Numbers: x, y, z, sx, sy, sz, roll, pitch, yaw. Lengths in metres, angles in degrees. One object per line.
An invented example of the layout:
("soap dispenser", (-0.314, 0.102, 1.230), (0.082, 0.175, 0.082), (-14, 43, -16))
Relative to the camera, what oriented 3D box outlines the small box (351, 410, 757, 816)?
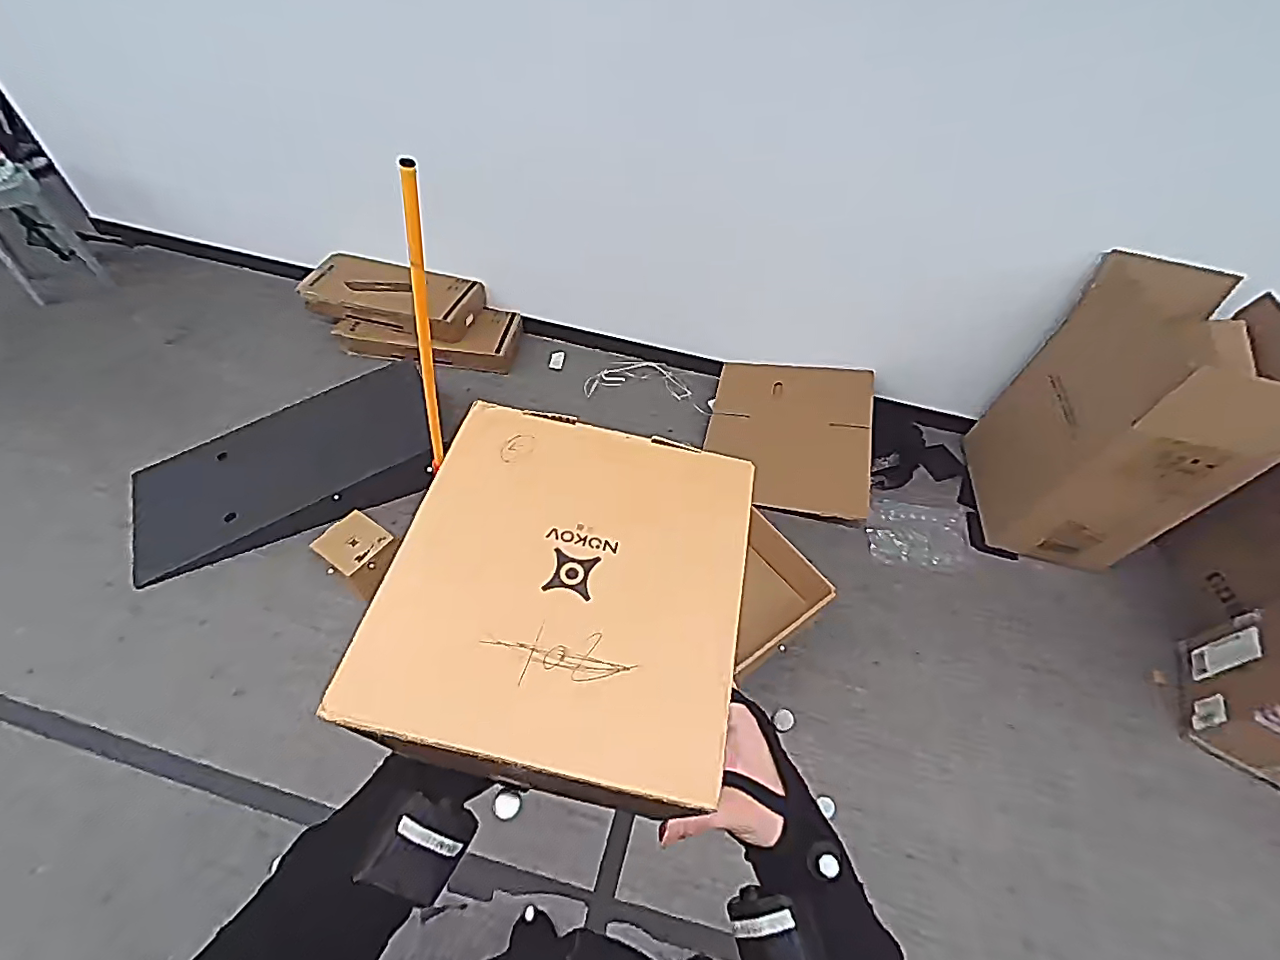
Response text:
("small box", (-0.037, 0.090, 0.338), (0.168, 0.176, 0.179), (13, 57, 2))
